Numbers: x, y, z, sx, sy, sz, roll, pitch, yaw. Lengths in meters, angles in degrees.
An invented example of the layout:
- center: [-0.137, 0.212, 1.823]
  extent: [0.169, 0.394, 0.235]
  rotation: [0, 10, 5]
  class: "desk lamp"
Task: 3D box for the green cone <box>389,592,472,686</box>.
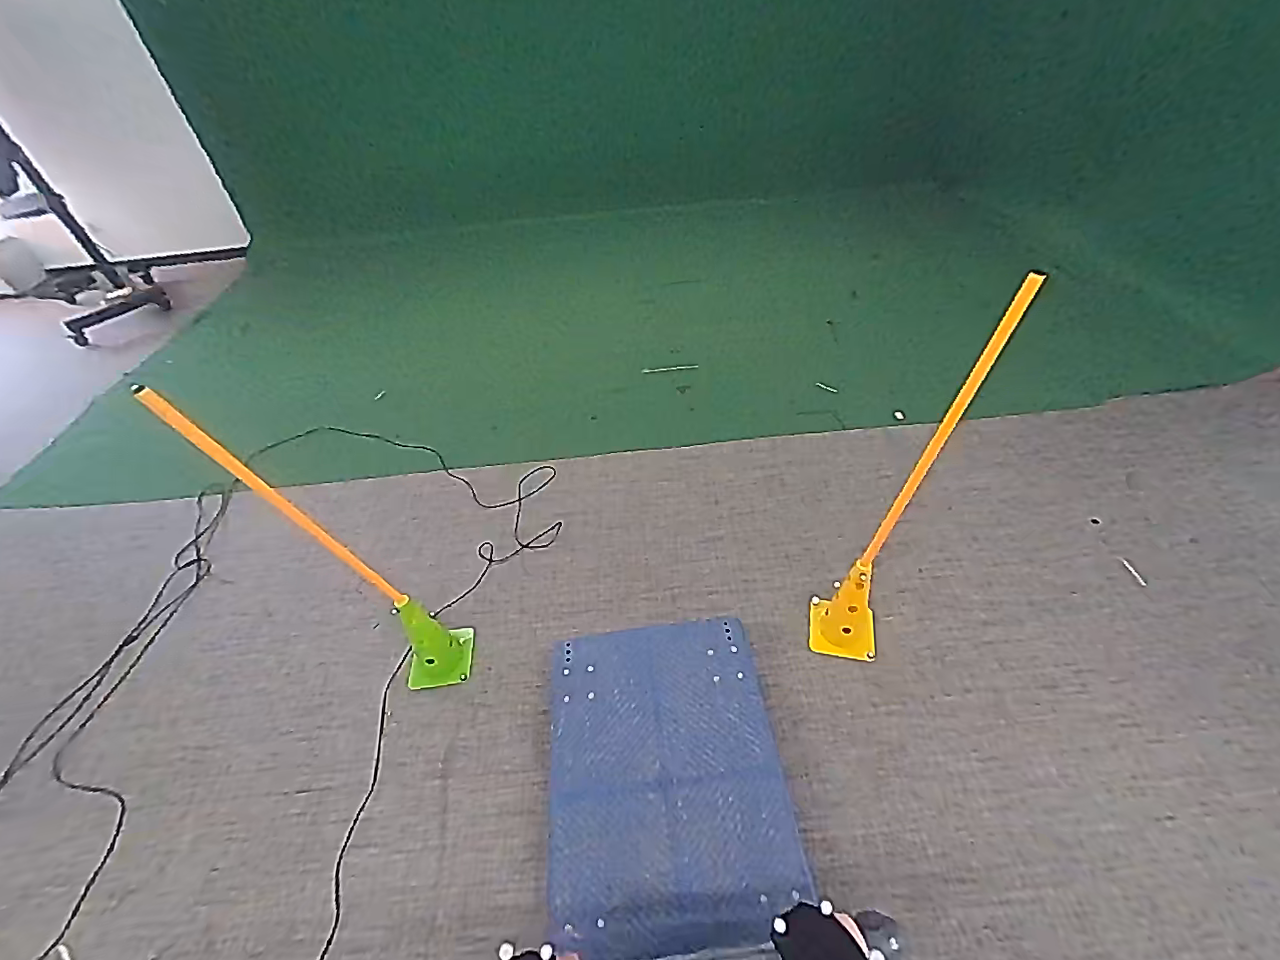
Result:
- center: [-0.685, 0.462, 1.690]
  extent: [0.202, 0.368, 0.200]
  rotation: [-9, 44, -1]
  class: "green cone"
